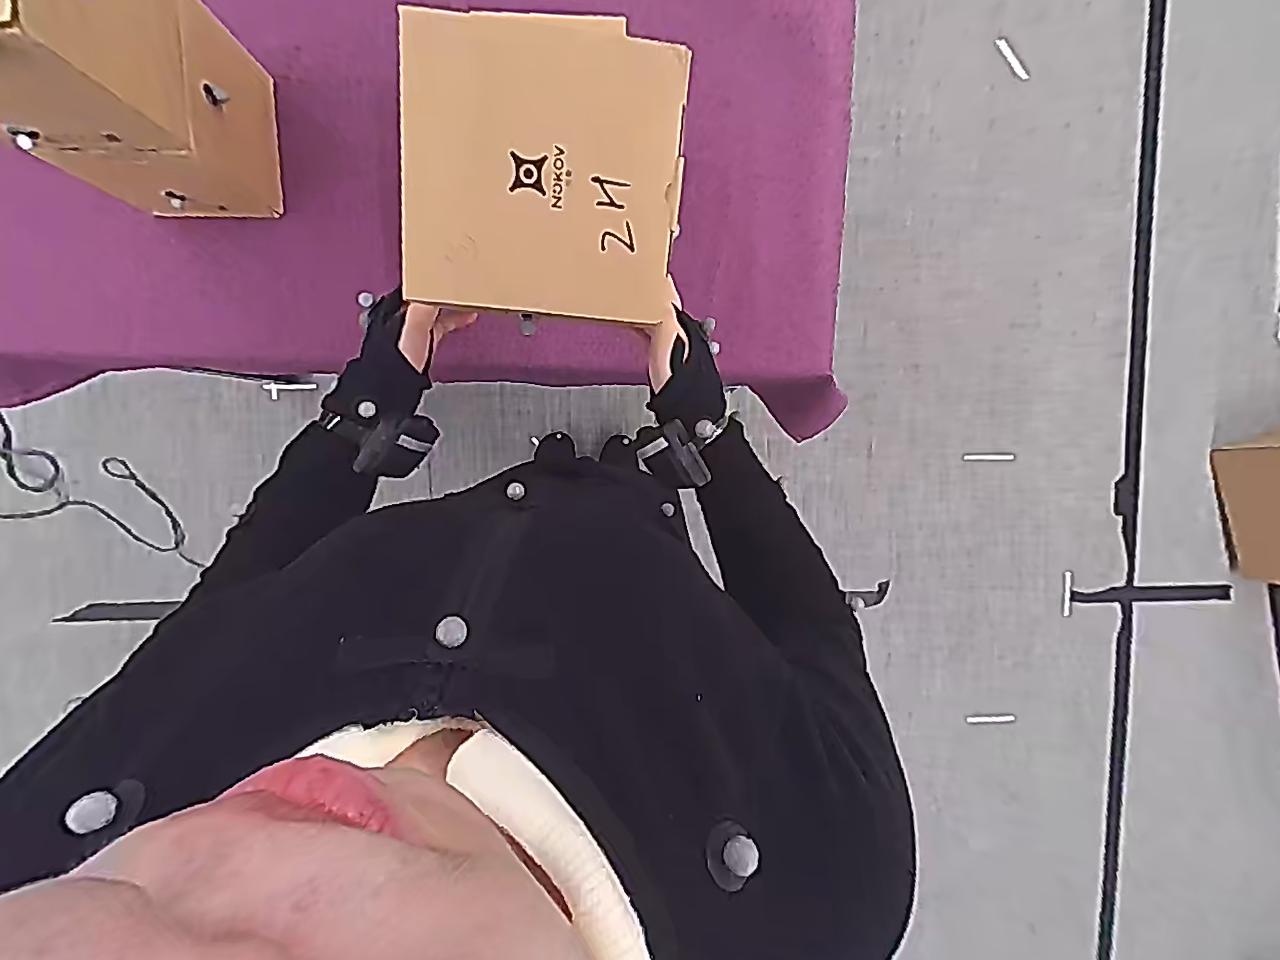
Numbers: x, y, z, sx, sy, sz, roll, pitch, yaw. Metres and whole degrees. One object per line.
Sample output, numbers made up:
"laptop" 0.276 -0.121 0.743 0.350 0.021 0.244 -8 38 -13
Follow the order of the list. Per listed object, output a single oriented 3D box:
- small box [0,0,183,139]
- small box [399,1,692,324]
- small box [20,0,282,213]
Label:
"small box" -0.536 -0.417 0.458 0.168 0.176 0.179 -3 95 -4
"small box" -0.067 -0.215 0.418 0.179 0.176 0.168 4 105 -6
"small box" -0.546 -0.432 0.621 0.168 0.176 0.179 -1 96 -4
